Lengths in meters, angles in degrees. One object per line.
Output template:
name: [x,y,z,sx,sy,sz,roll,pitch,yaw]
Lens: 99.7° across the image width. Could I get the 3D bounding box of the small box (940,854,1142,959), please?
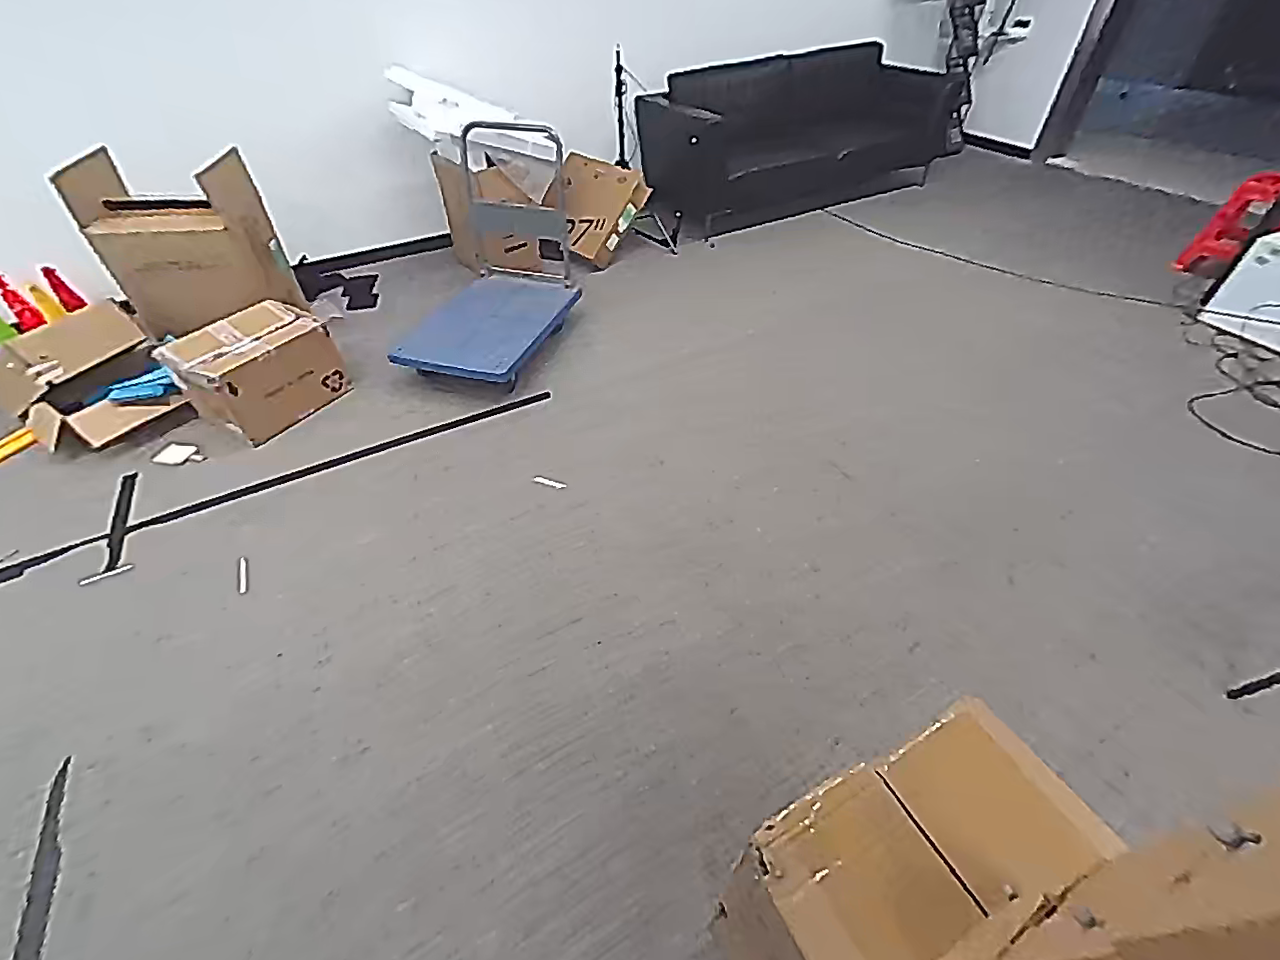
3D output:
small box: [0.406,0.487,0.484,0.168,0.176,0.179,-21,48,-18]
